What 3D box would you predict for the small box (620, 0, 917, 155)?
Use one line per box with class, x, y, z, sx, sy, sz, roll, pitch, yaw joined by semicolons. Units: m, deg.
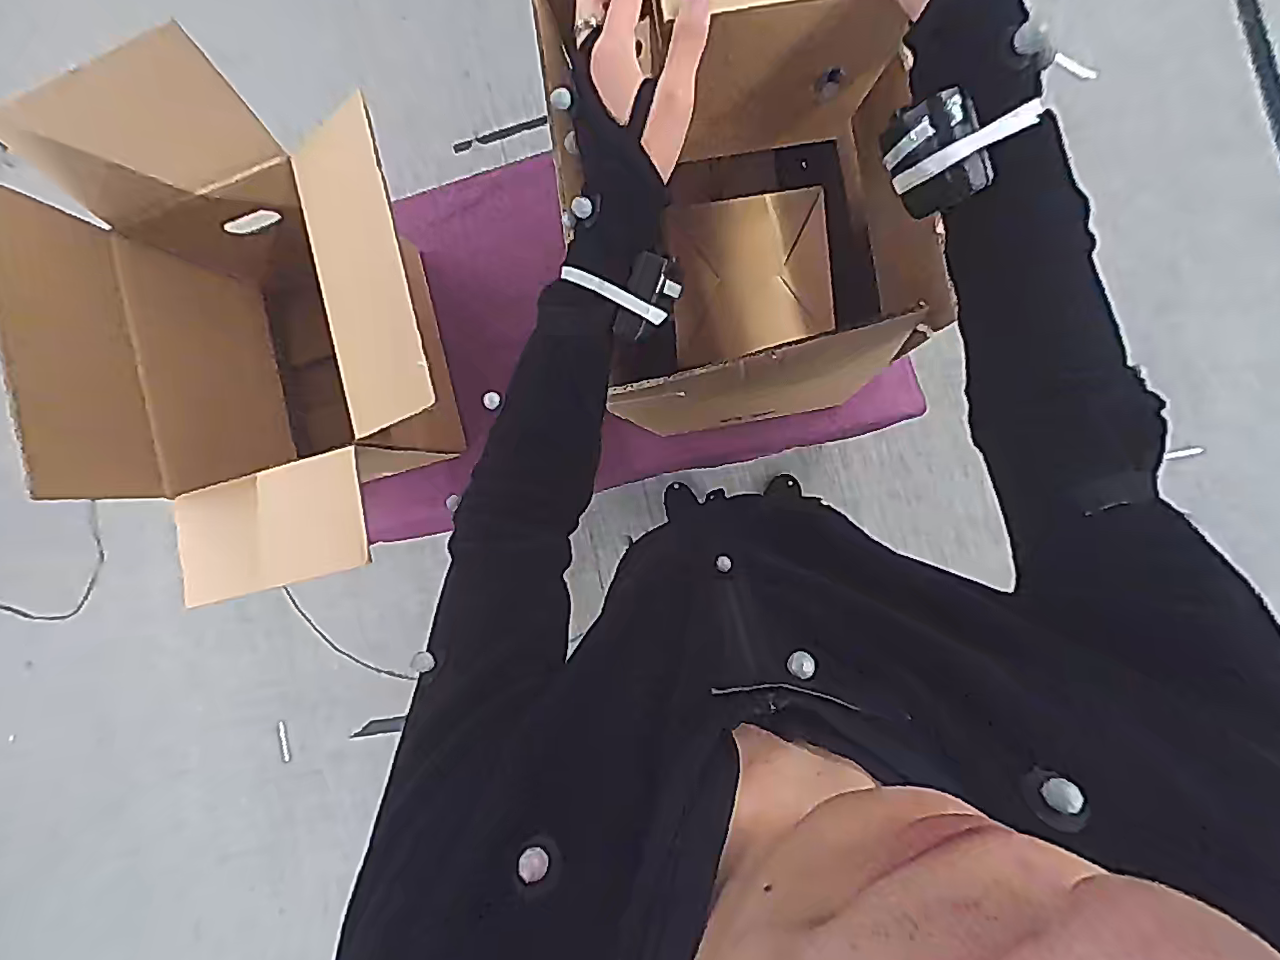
small box;0.080;-0.380;0.408;0.179;0.176;0.168;-9;92;-1
